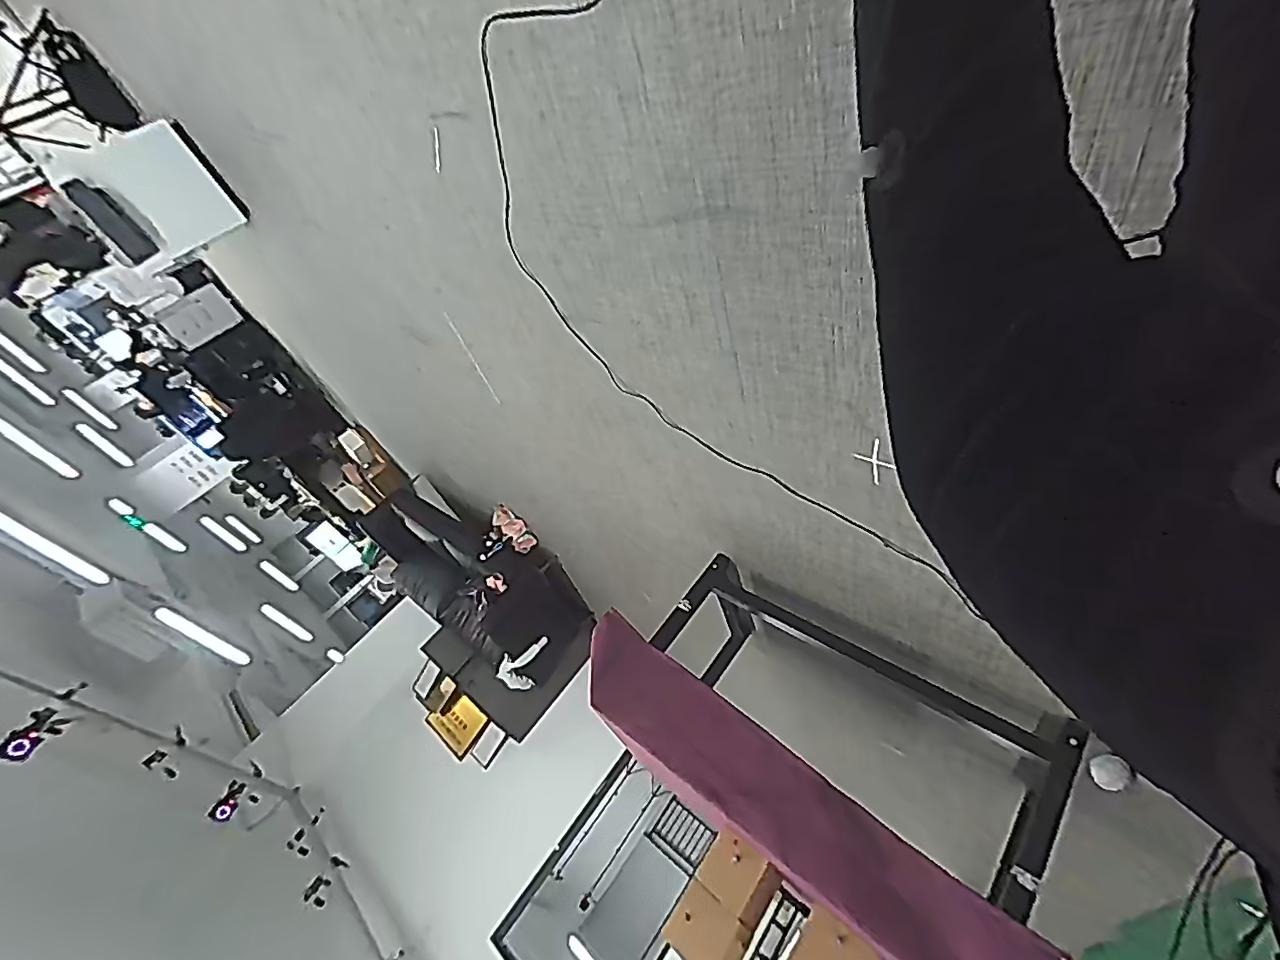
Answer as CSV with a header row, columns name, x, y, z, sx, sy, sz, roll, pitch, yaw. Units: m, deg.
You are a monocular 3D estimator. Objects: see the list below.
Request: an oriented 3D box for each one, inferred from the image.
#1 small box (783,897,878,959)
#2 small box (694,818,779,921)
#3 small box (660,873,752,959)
name,x,y,z,sx,sy,sz,roll,pitch,yaw
small box,0.509,1.252,1.435,0.179,0.176,0.168,22,149,40
small box,0.296,1.167,1.627,0.168,0.176,0.179,17,145,44
small box,0.194,1.274,1.557,0.179,0.176,0.168,18,147,43
